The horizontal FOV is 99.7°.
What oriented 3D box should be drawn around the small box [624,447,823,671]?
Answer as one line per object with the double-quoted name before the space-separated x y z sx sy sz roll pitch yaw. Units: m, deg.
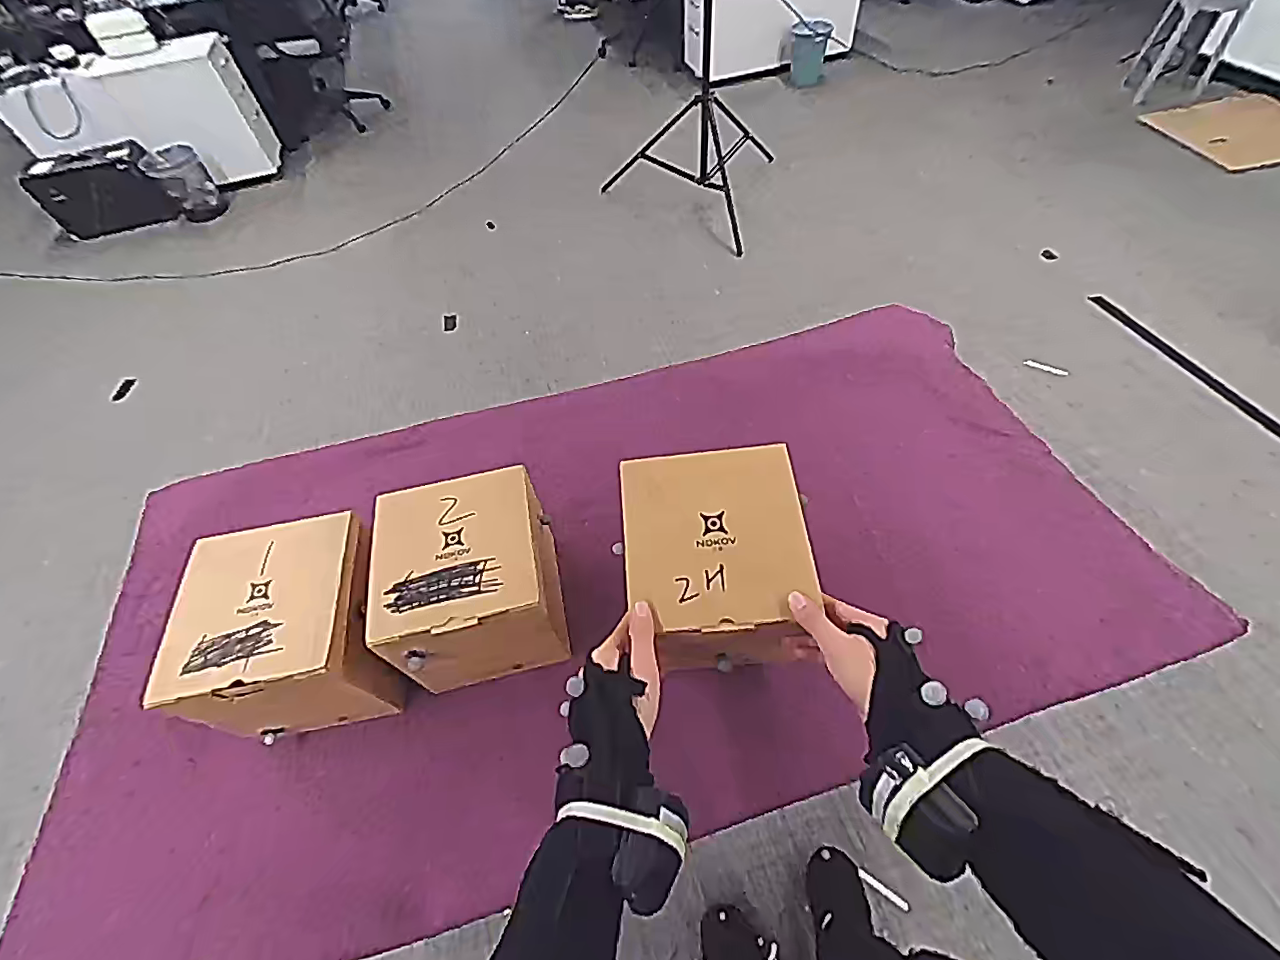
"small box" 0.074 0.088 0.560 0.168 0.176 0.179 -6 61 4
